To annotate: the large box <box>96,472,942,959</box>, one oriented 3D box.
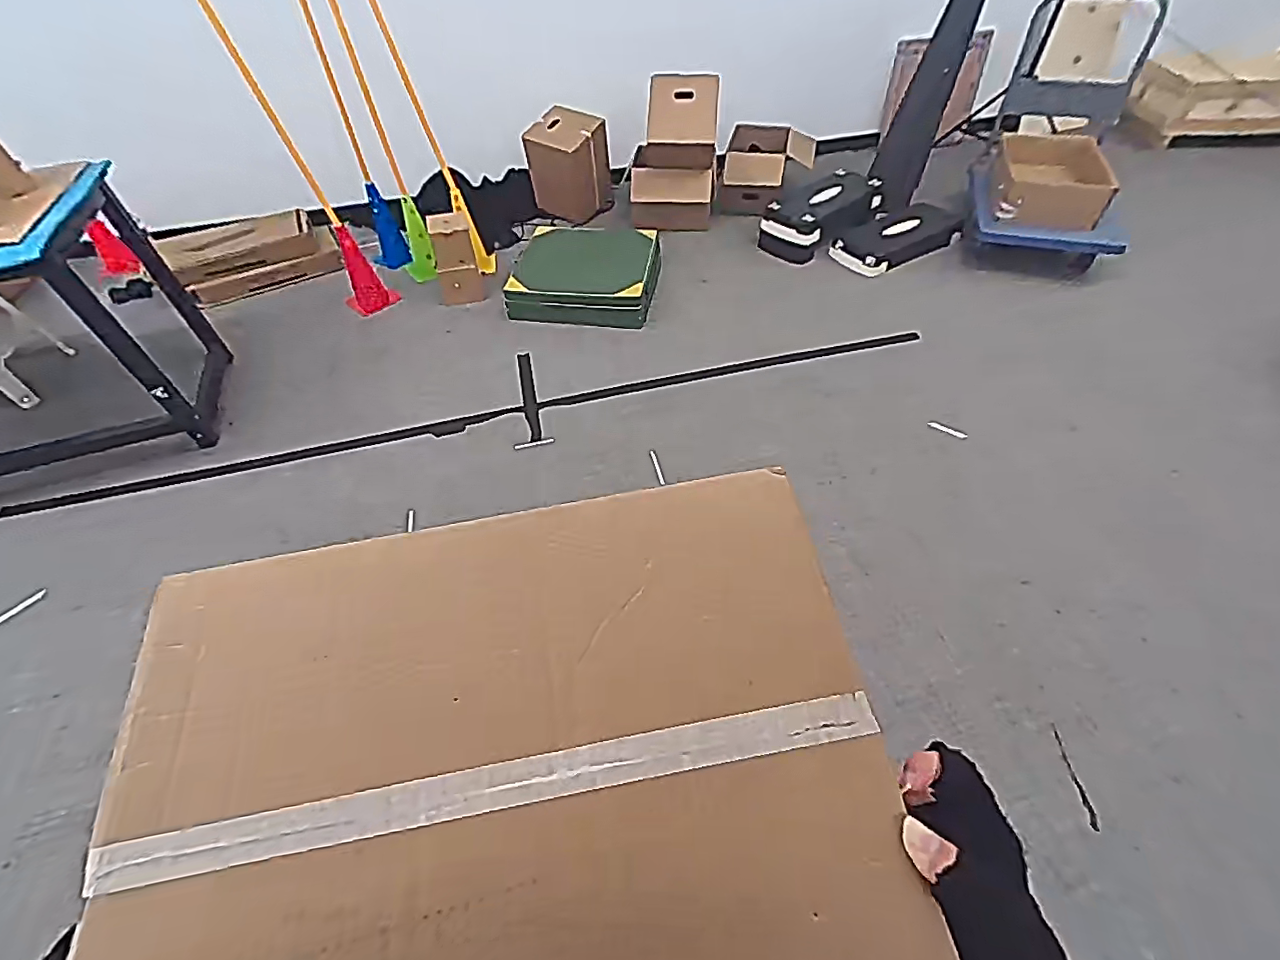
[{"bbox_3d":[-0.071,0.233,0.425,0.408,0.320,0.320,-10,62,-2],"label":"large box"}]
